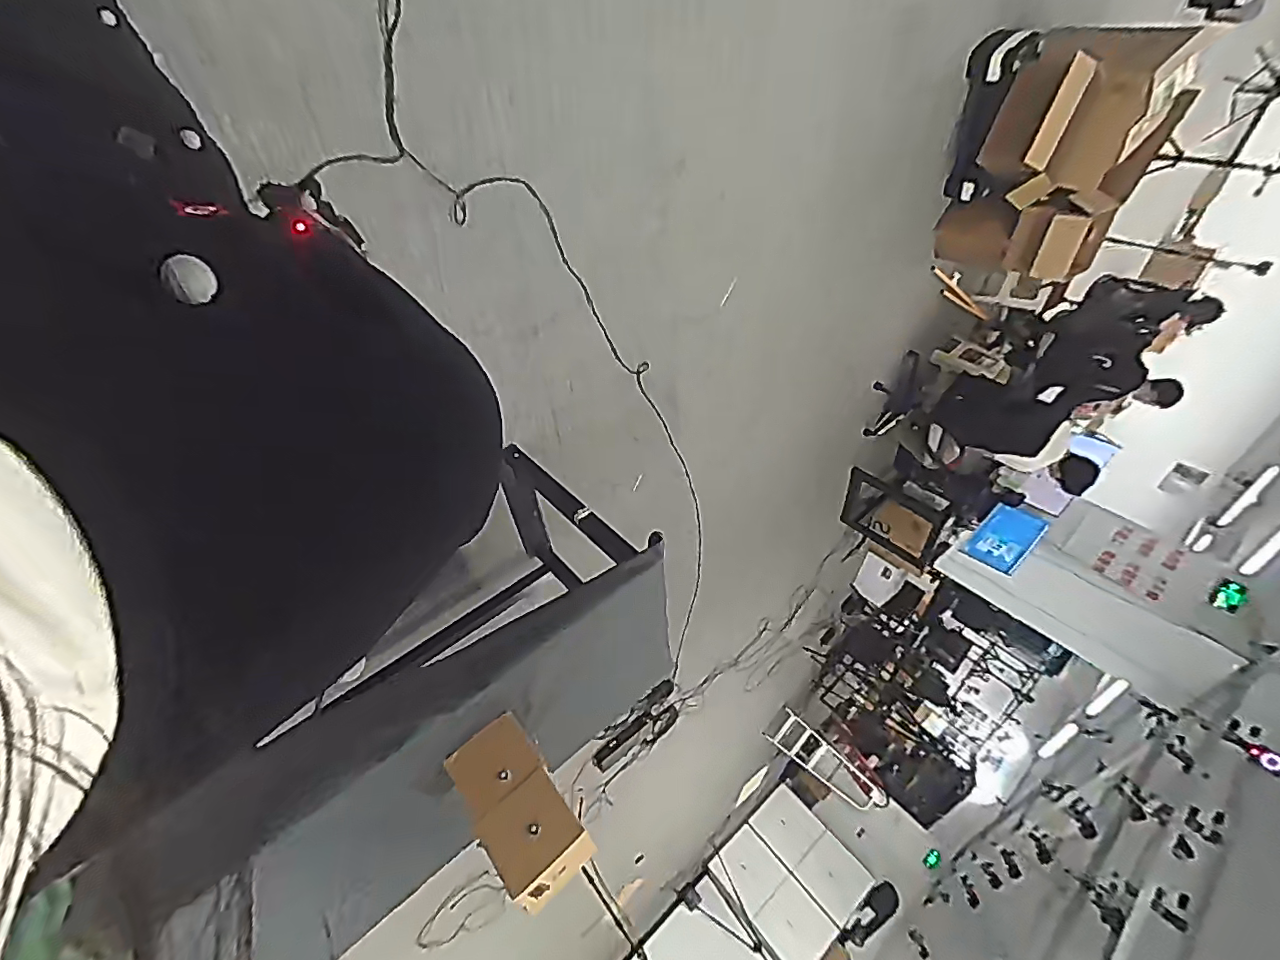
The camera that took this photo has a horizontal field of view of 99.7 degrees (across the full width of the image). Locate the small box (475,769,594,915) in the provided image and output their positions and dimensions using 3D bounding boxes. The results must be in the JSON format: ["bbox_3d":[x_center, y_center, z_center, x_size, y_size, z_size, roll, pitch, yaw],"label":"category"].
[{"bbox_3d":[-0.228,0.764,1.149,0.179,0.176,0.168,-35,139,-22],"label":"small box"}]

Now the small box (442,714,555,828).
[{"bbox_3d":[-0.327,0.685,1.253,0.179,0.176,0.168,-32,138,-24],"label":"small box"}]
